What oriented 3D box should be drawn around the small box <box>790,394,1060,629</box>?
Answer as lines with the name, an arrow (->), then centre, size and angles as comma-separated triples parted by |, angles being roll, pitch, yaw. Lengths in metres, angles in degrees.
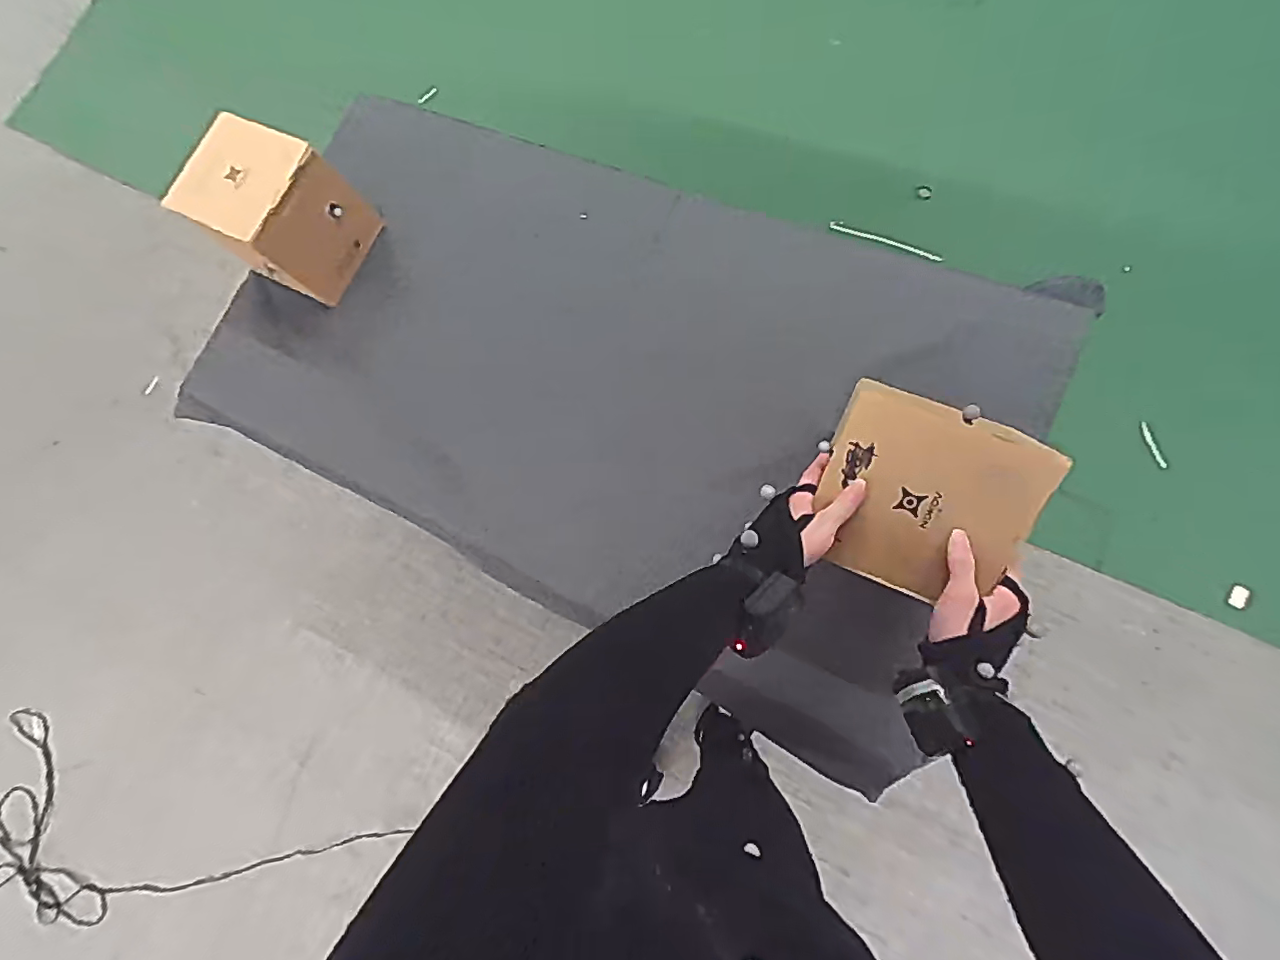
small box -> 0.278, 0.016, 0.567 | 0.179, 0.176, 0.168 | 23, 111, 15

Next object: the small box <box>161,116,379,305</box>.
small box -> -0.542, -0.394, 0.818 | 0.179, 0.176, 0.168 | 27, 82, 13
